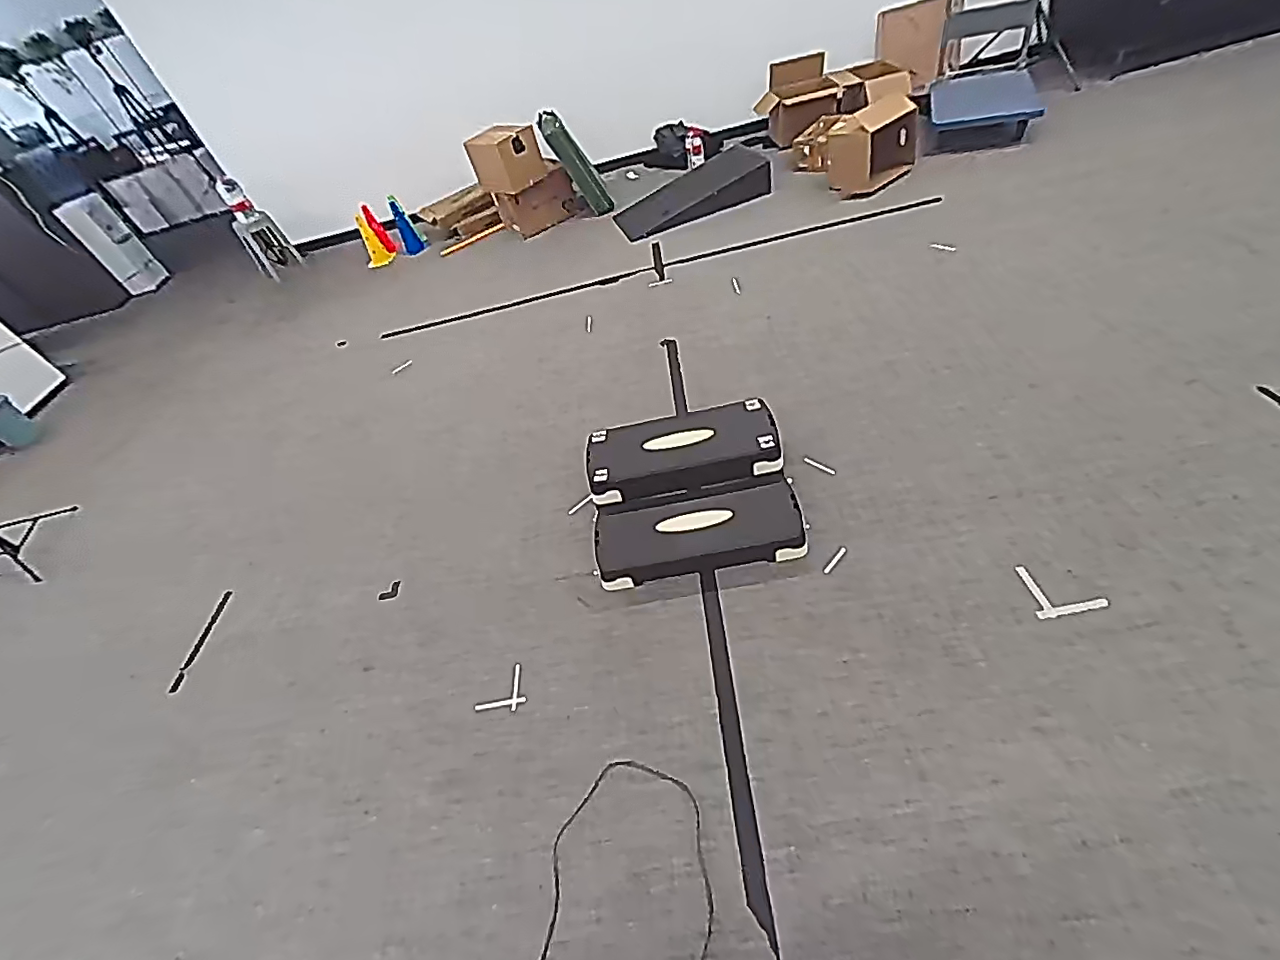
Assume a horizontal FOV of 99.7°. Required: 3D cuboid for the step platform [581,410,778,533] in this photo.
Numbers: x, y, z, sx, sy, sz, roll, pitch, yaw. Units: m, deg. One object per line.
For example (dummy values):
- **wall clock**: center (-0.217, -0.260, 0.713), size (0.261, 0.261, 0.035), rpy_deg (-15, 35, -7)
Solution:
- **step platform**: center (0.133, -0.035, 1.920), size (0.684, 0.204, 0.286), rpy_deg (-12, 46, 5)
